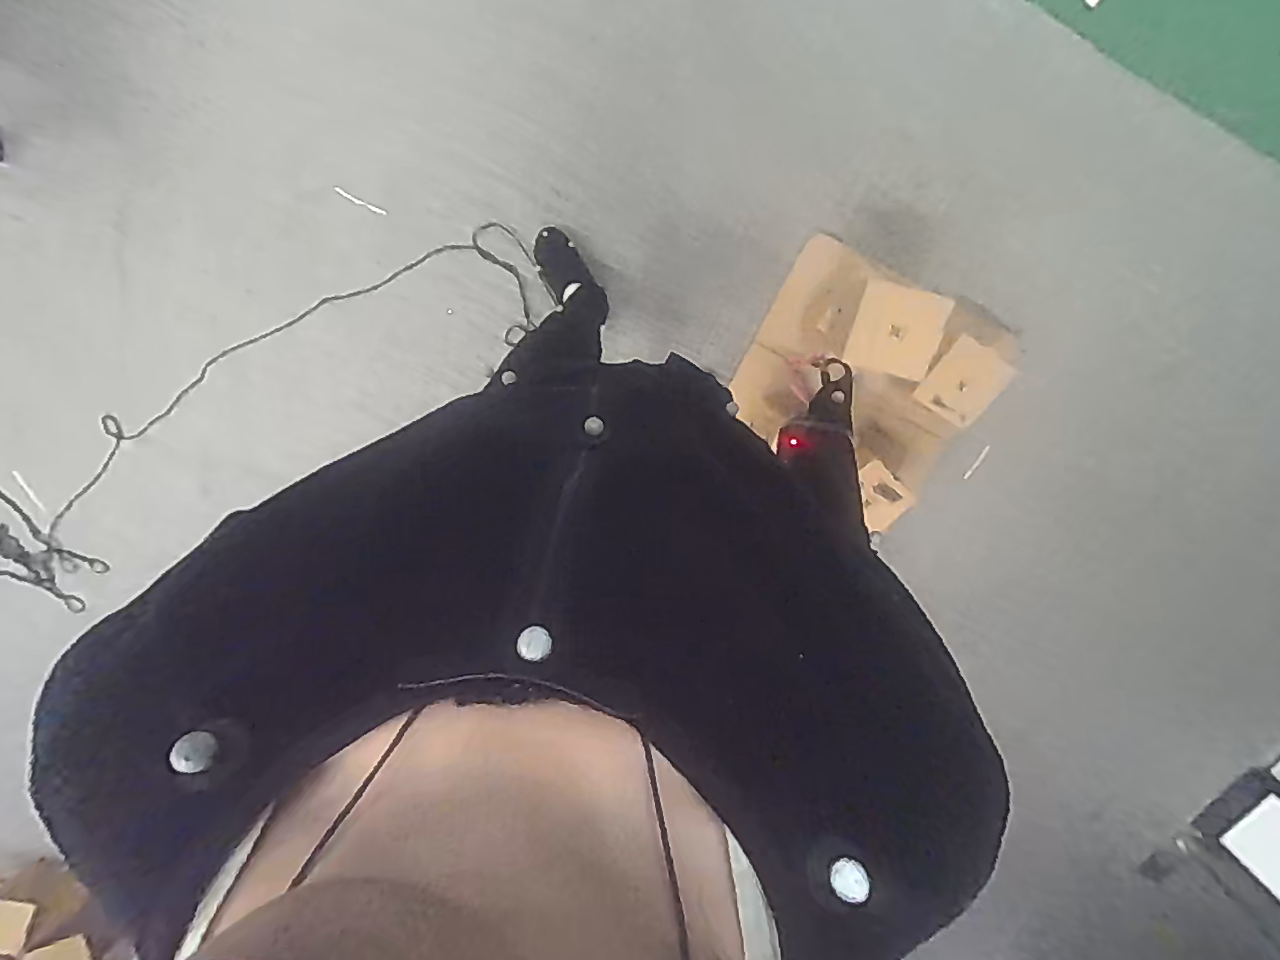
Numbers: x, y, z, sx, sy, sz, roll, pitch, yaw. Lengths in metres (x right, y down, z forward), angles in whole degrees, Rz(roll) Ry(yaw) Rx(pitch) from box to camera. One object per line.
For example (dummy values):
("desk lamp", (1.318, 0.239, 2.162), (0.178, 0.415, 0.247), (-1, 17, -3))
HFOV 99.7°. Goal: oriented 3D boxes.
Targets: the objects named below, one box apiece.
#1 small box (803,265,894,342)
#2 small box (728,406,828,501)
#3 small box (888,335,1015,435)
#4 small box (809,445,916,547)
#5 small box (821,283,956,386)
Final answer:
("small box", (0.515, -0.386, 1.281), (0.179, 0.176, 0.168), (30, 109, -8))
("small box", (0.344, -0.077, 1.396), (0.179, 0.176, 0.168), (29, 108, -8))
("small box", (0.748, -0.241, 1.320), (0.168, 0.176, 0.179), (31, 107, -9))
("small box", (0.574, 0.034, 1.422), (0.168, 0.176, 0.179), (41, 108, -11))
("small box", (0.508, -0.310, 1.134), (0.179, 0.176, 0.168), (14, 109, -2))
